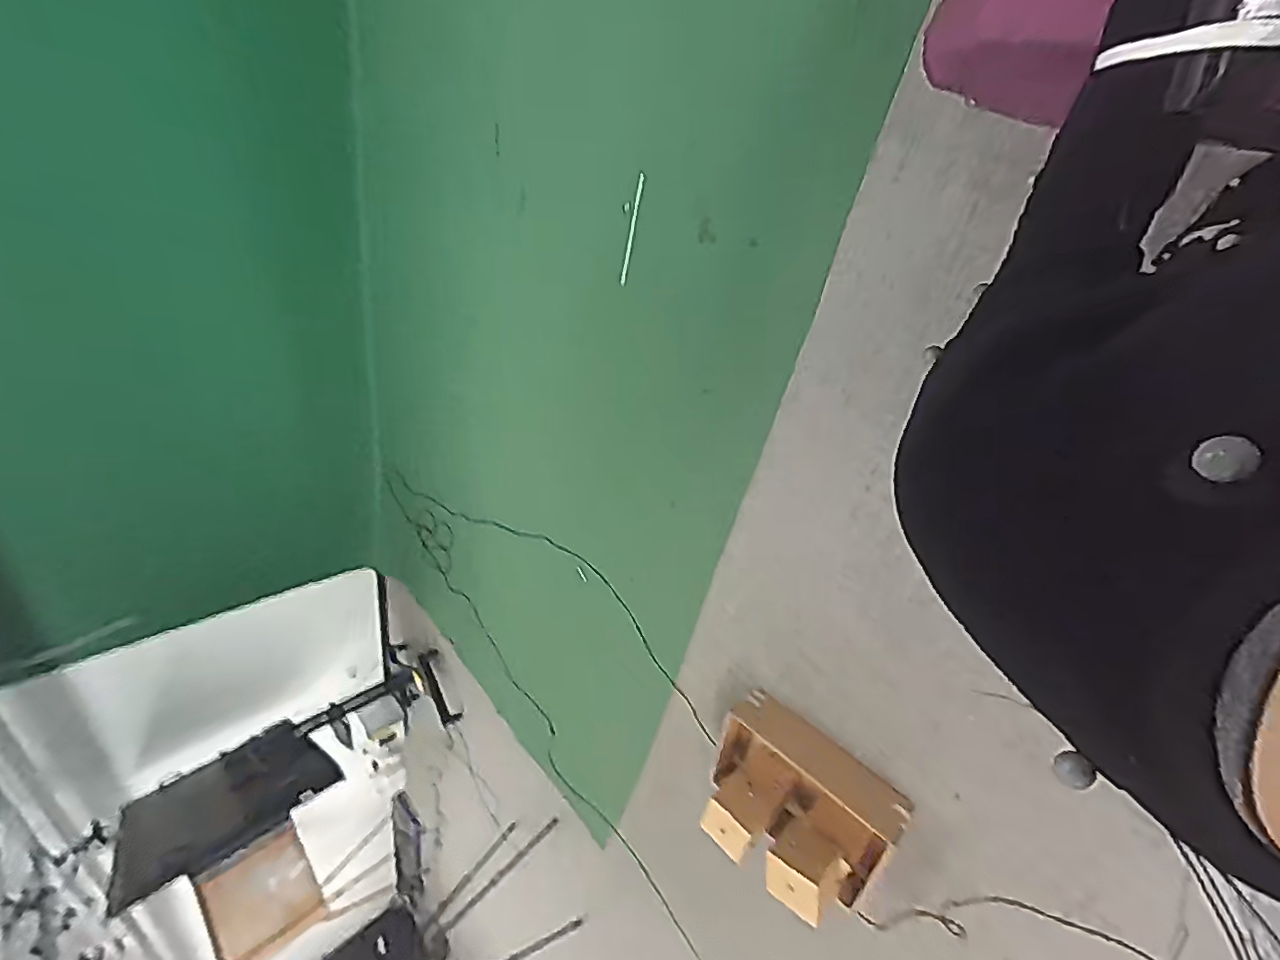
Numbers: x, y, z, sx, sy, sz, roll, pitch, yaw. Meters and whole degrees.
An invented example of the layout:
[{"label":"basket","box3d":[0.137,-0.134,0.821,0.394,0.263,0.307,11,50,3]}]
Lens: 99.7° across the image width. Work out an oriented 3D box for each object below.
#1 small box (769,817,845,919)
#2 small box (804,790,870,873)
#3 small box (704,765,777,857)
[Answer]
[{"label":"small box","box3d":[0.534,1.230,1.734,0.179,0.176,0.168,12,111,44]},{"label":"small box","box3d":[0.652,1.212,1.846,0.179,0.176,0.168,32,124,37]},{"label":"small box","box3d":[0.353,1.149,1.888,0.168,0.176,0.179,32,124,34]}]
